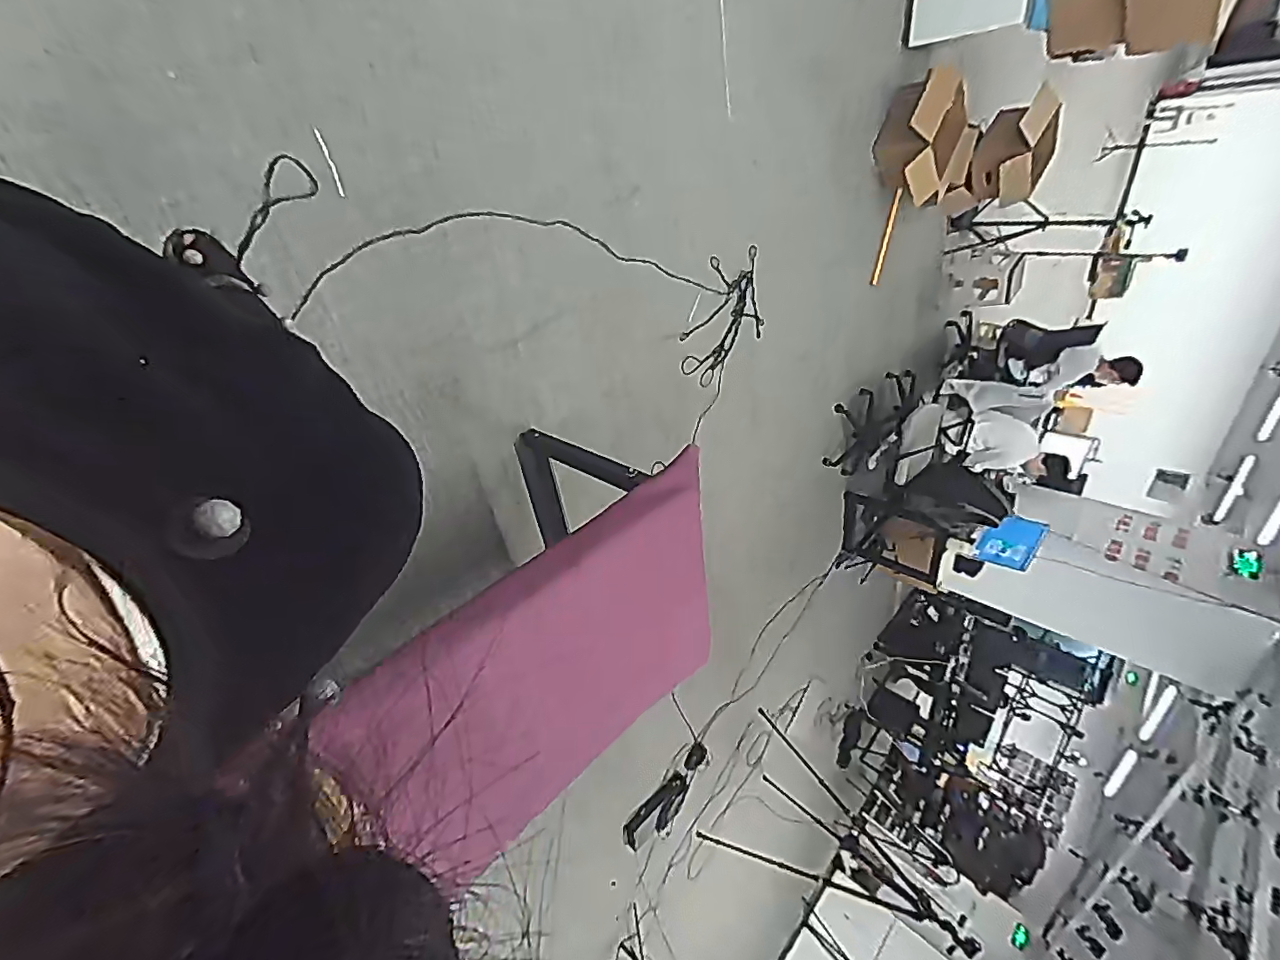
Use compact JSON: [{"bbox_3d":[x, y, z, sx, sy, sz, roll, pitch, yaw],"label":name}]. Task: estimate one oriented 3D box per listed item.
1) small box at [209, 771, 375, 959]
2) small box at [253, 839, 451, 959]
[{"bbox_3d":[-0.506,0.592,0.814,0.179,0.176,0.168,-38,132,-31],"label":"small box"},{"bbox_3d":[-0.380,0.640,0.720,0.179,0.176,0.168,-33,129,-36],"label":"small box"}]
